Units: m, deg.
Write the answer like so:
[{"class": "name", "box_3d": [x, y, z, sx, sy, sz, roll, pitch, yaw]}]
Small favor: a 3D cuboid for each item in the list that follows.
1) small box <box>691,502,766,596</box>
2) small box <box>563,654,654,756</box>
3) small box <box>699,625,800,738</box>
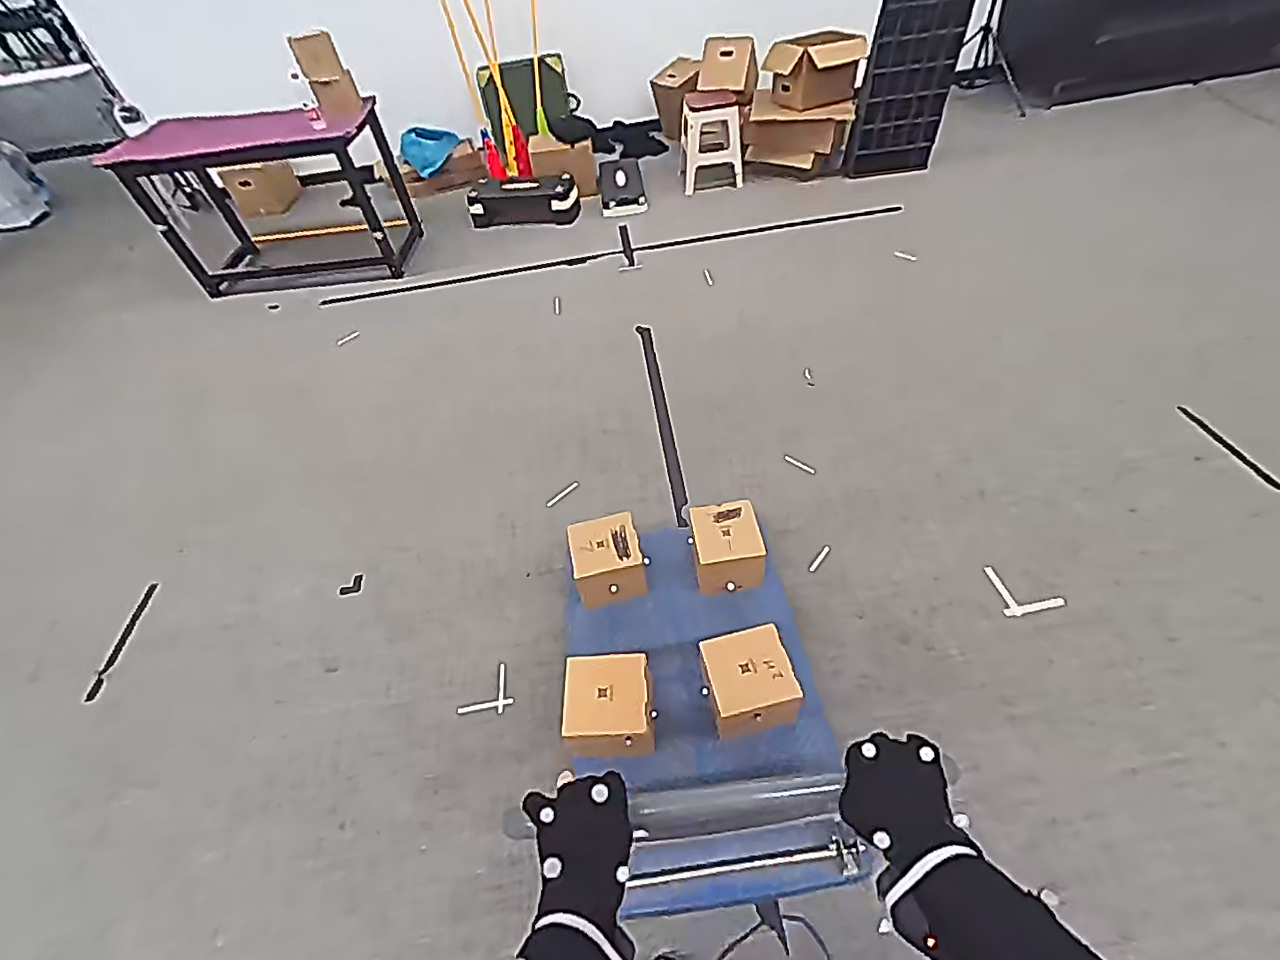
[{"class": "small box", "box_3d": [0.228, 0.185, 1.438, 0.168, 0.176, 0.179, -9, 50, 1]}, {"class": "small box", "box_3d": [-0.064, 0.504, 1.205, 0.179, 0.176, 0.168, -4, 49, 3]}, {"class": "small box", "box_3d": [0.239, 0.453, 1.205, 0.179, 0.176, 0.168, -13, 49, -3]}]
